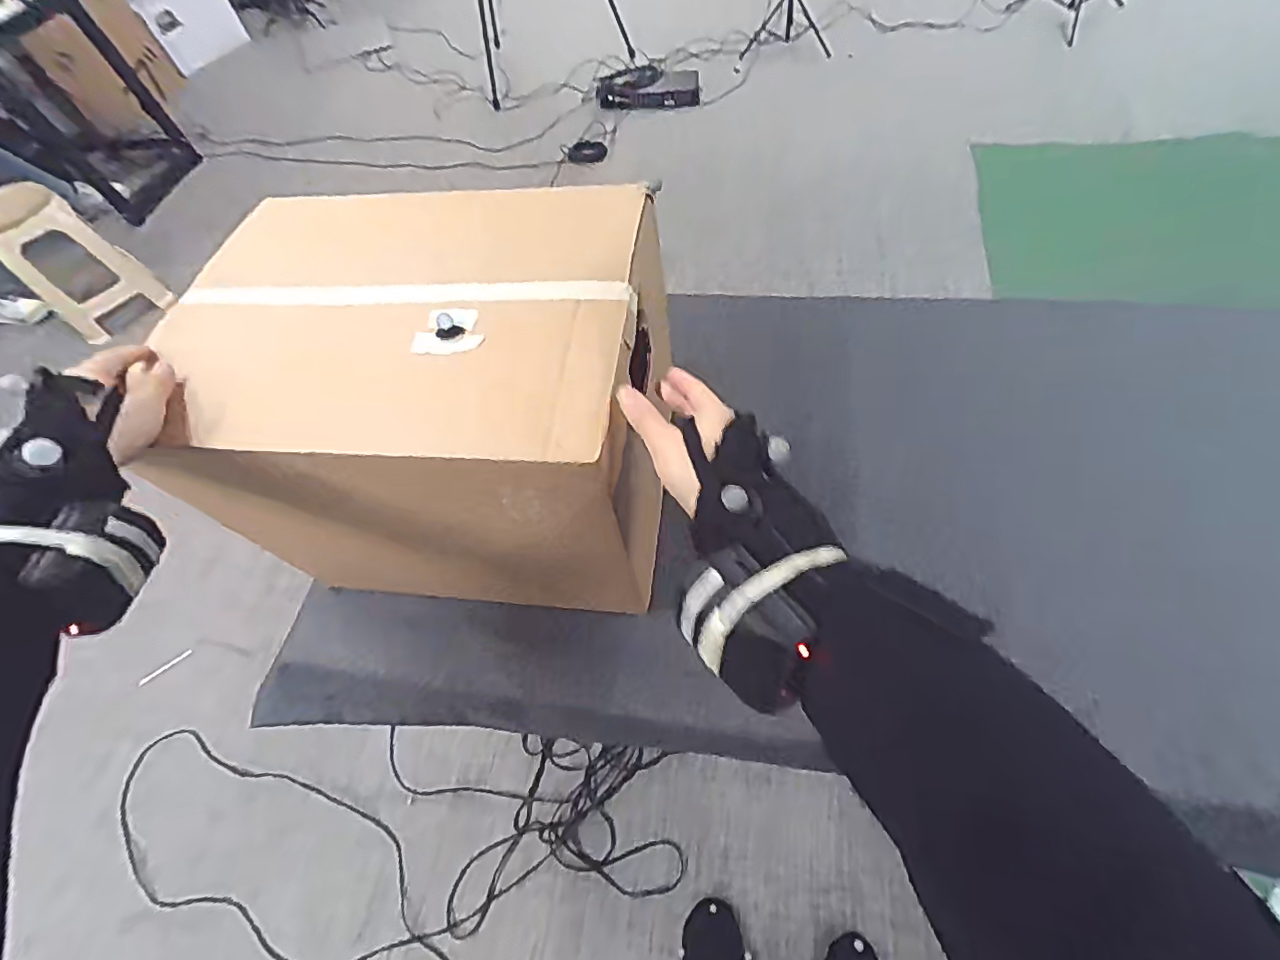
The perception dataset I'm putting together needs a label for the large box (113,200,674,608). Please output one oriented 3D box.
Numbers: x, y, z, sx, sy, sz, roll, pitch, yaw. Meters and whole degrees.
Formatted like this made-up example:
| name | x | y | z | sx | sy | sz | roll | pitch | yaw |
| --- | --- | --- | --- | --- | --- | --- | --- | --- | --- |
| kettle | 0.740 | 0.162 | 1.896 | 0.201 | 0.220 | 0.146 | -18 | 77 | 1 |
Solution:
| name | x | y | z | sx | sy | sz | roll | pitch | yaw |
| --- | --- | --- | --- | --- | --- | --- | --- | --- | --- |
| large box | -0.178 | -0.067 | 0.587 | 0.408 | 0.320 | 0.320 | 3 | 59 | 8 |
